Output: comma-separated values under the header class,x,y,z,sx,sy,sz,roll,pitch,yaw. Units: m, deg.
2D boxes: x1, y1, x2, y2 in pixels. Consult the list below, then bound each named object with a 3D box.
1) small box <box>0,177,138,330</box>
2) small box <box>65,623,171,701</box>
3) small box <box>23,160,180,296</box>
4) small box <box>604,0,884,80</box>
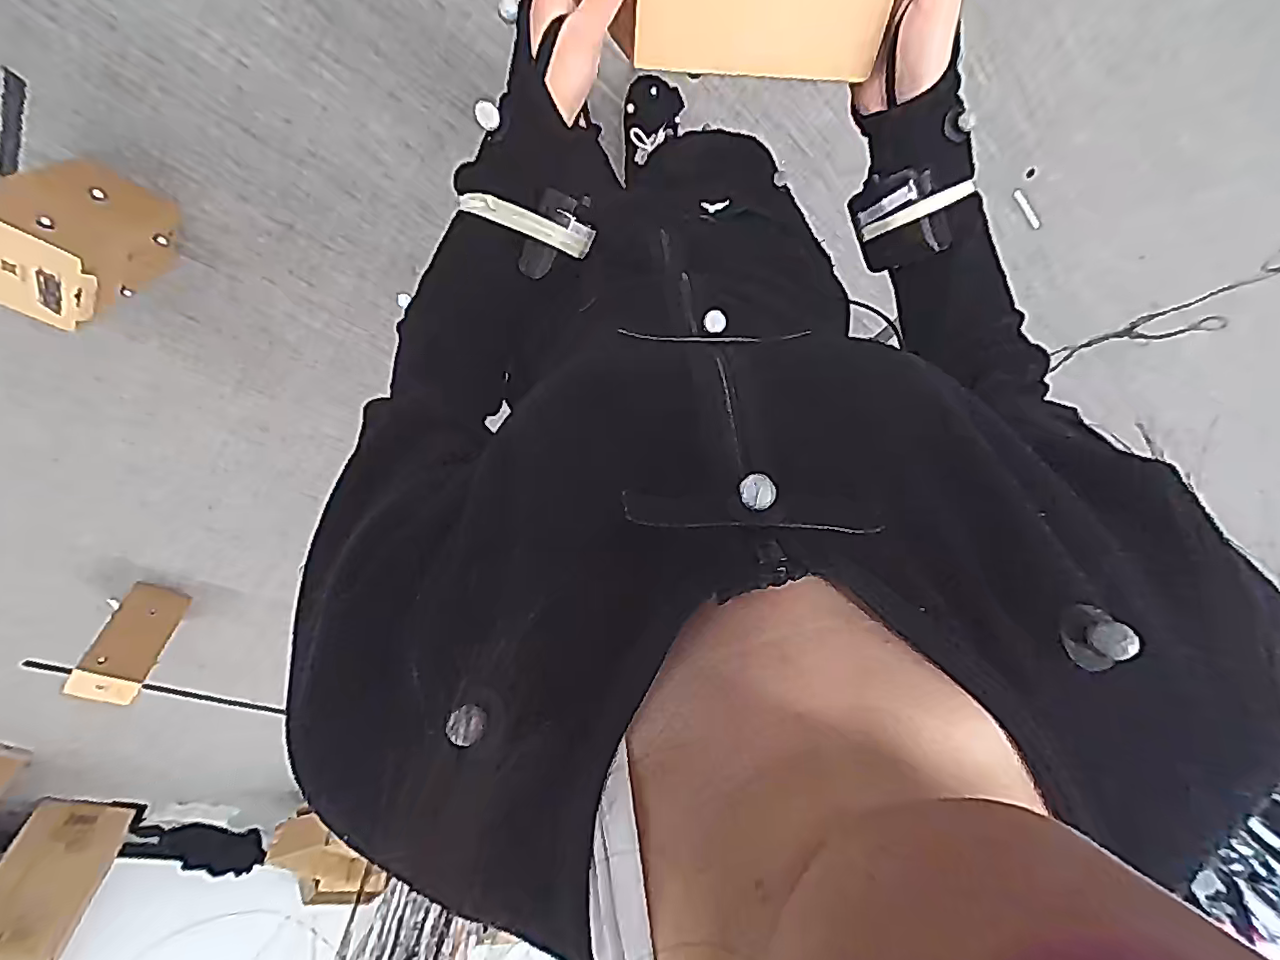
class,x,y,z,sx,sy,sz,roll,pitch,yaw
small box,-1.064,-0.413,0.979,0.179,0.176,0.168,25,122,-27
small box,-1.696,0.590,1.764,0.179,0.176,0.168,32,120,-32
small box,-1.089,-0.518,1.104,0.179,0.176,0.168,25,122,-26
small box,0.065,-0.387,0.349,0.168,0.176,0.179,-4,136,-9
